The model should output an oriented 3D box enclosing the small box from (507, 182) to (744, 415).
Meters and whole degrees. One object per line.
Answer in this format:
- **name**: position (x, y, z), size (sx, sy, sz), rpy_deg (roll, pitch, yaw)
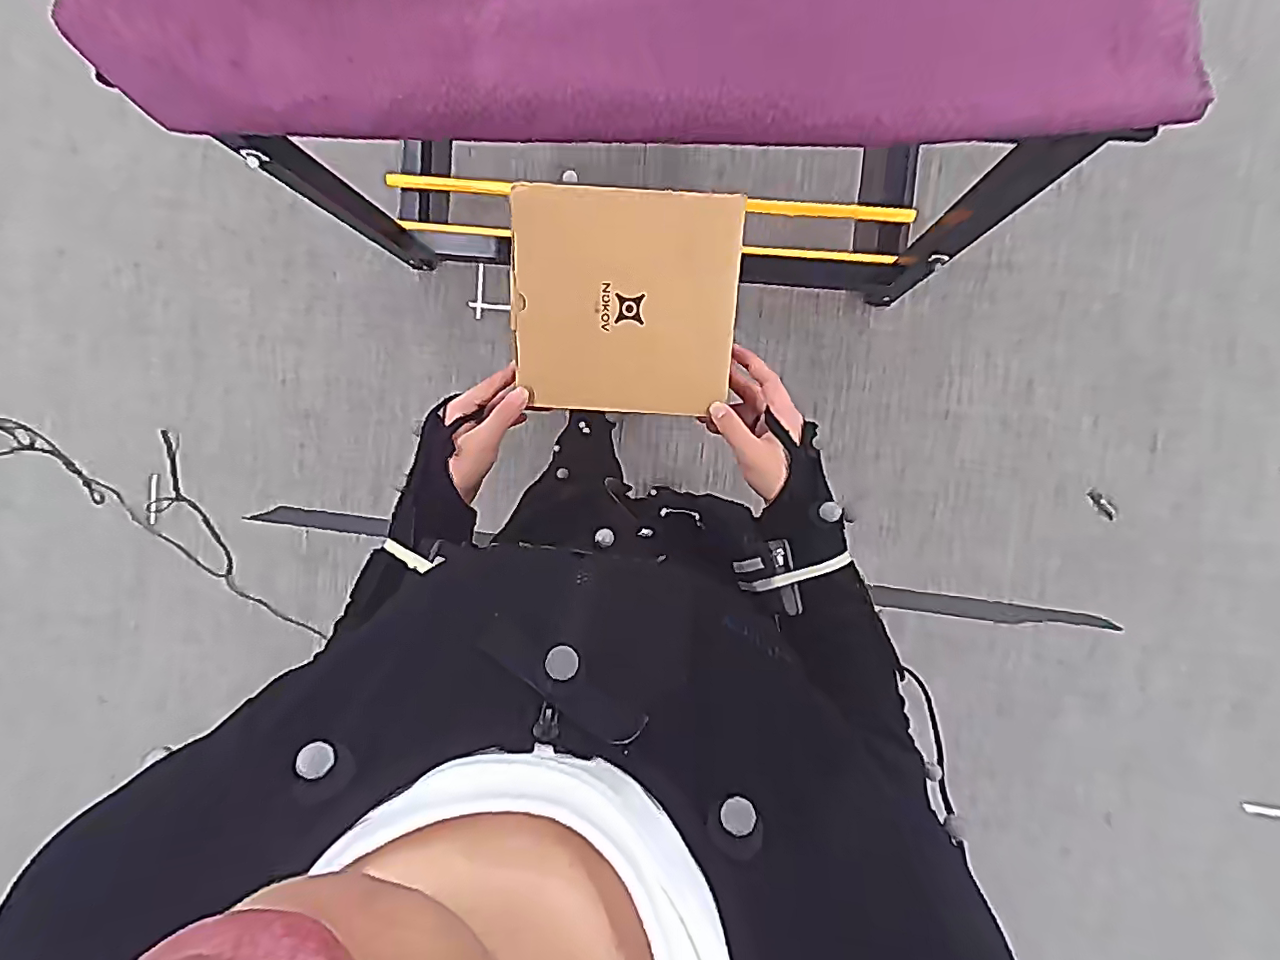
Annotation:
- **small box**: position (-0.011, -0.161, 0.492), size (0.179, 0.176, 0.168), rpy_deg (4, 108, 2)
